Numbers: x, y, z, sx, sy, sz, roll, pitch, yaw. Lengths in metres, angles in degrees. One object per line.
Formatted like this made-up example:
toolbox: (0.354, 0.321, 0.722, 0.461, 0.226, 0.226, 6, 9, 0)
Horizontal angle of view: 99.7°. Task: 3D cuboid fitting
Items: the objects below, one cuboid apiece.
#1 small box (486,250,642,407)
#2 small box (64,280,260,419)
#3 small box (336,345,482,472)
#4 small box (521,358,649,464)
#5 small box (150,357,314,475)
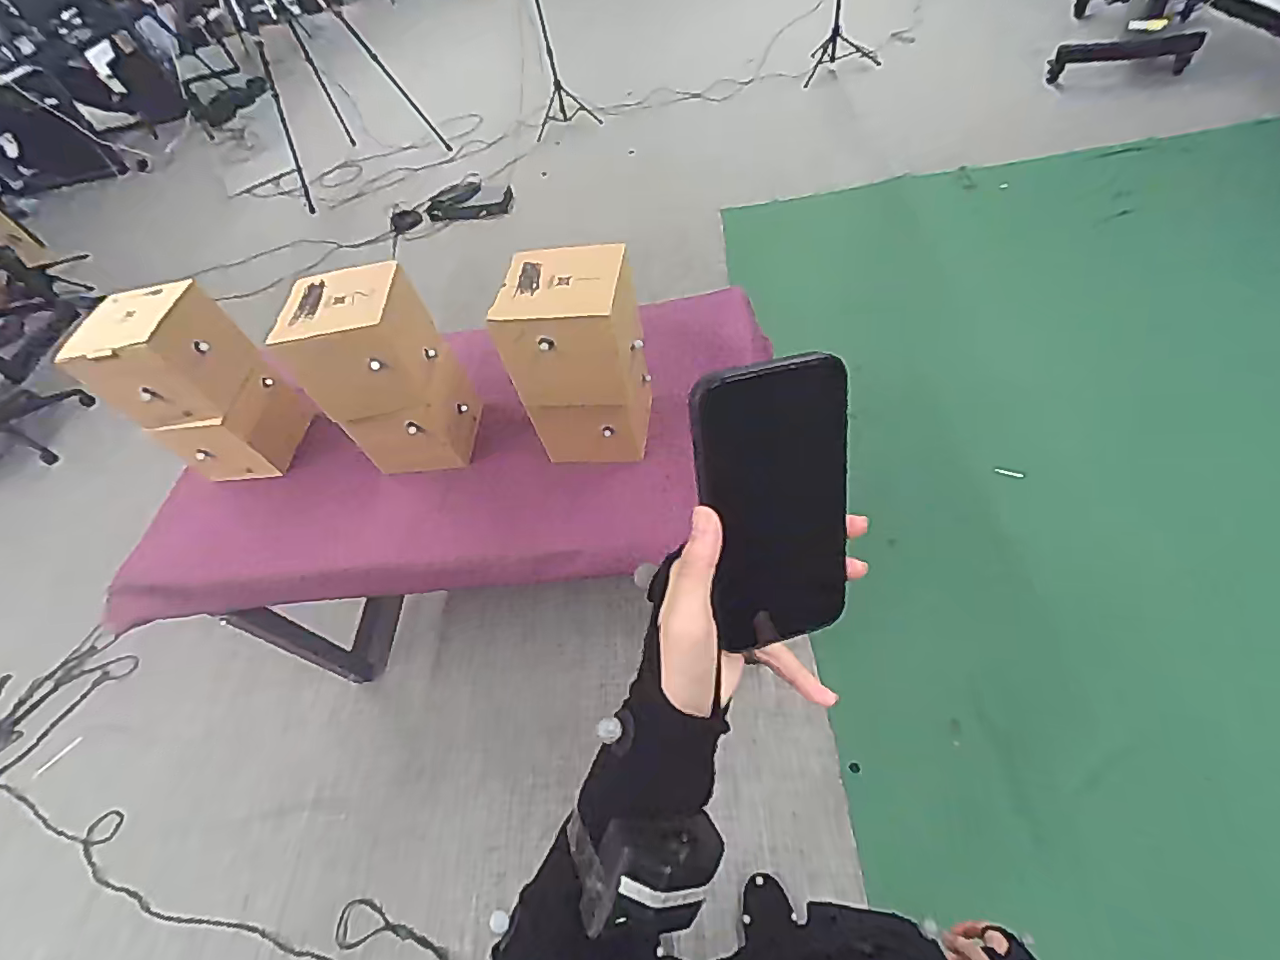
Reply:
small box: (-0.103, -0.225, 0.825, 0.179, 0.176, 0.168, 1, 54, 11)
small box: (-0.831, -0.223, 0.966, 0.168, 0.176, 0.179, -7, 54, 5)
small box: (-0.421, -0.131, 1.022, 0.179, 0.176, 0.168, -4, 54, 8)
small box: (-0.085, -0.141, 0.965, 0.179, 0.176, 0.168, 1, 54, 12)
small box: (-0.806, -0.121, 1.092, 0.168, 0.176, 0.179, -3, 54, 9)
